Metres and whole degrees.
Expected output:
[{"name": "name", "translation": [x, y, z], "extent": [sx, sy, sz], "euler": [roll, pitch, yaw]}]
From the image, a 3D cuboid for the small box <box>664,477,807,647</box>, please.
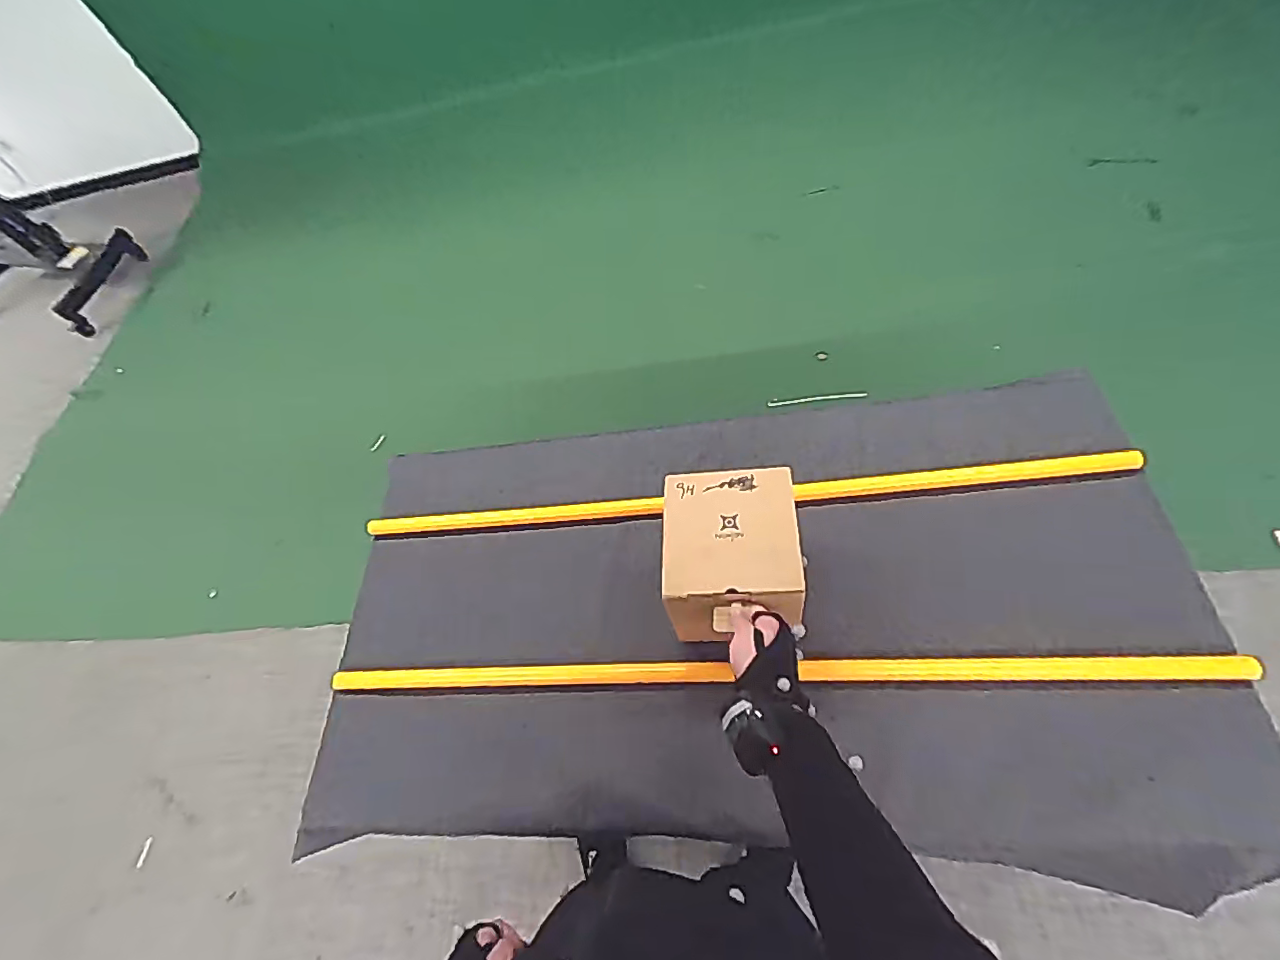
[{"name": "small box", "translation": [0.132, 0.122, 0.738], "extent": [0.168, 0.176, 0.179], "euler": [-8, 56, 11]}]
